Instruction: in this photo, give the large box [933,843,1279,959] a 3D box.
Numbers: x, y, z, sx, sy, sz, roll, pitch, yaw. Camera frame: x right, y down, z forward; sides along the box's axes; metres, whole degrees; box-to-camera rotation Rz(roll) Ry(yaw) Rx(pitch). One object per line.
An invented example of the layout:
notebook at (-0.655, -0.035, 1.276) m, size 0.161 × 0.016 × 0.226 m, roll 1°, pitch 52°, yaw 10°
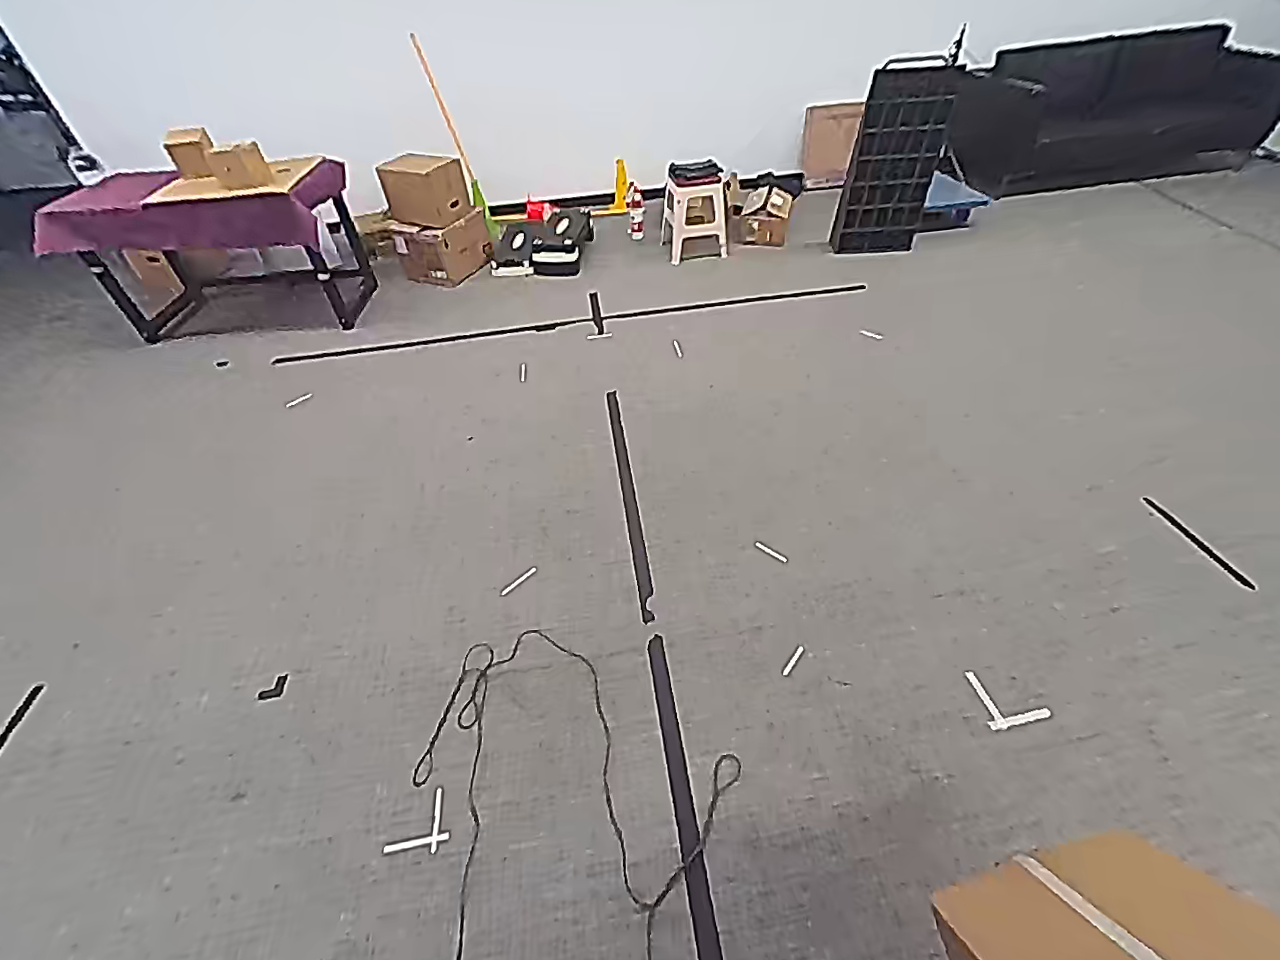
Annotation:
large box at (0.617, 0.697, 0.583) m, size 0.320 × 0.408 × 0.320 m, roll -17°, pitch 83°, yaw -4°
